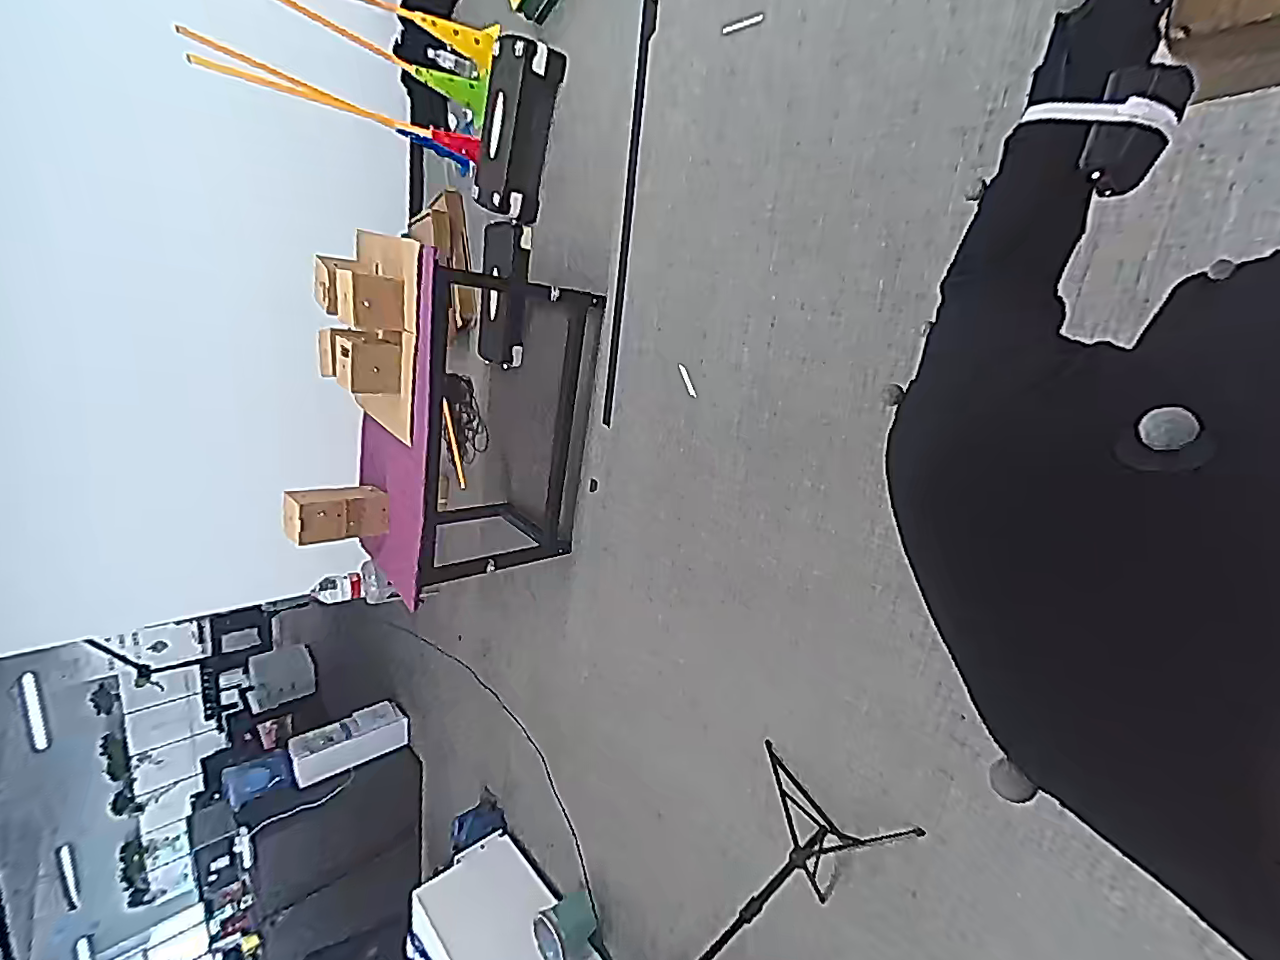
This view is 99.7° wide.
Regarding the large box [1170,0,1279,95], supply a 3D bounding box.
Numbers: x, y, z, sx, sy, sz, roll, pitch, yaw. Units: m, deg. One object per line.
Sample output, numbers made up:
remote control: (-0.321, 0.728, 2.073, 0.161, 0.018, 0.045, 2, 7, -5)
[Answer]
large box: (0.582, -0.462, 0.280, 0.408, 0.320, 0.320, 13, 118, 43)
